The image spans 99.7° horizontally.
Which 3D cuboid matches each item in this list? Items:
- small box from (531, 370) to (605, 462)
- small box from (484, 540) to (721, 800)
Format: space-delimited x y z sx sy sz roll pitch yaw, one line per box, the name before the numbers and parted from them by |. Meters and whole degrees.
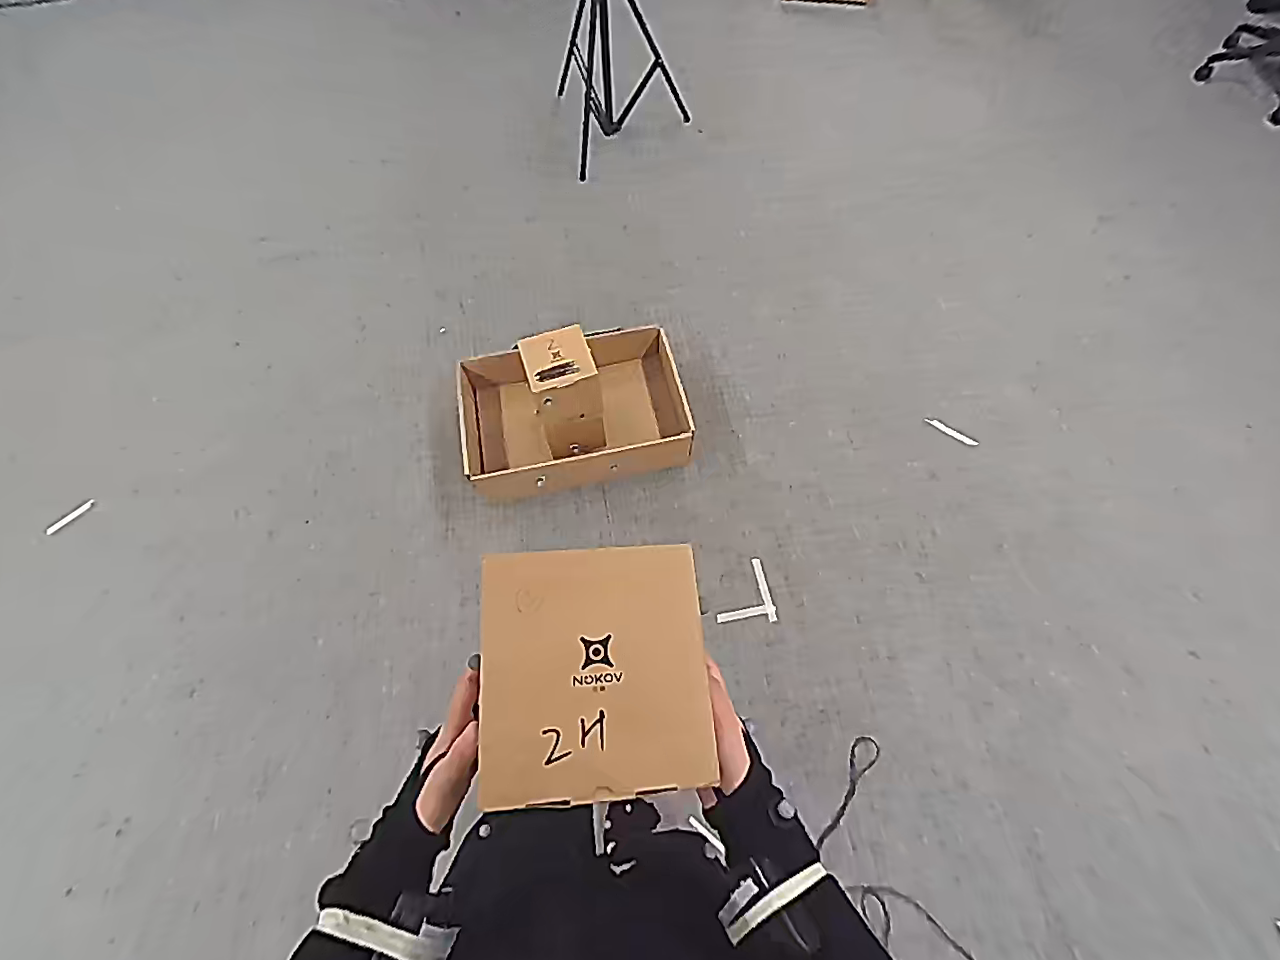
small box | -0.204 -0.180 1.551 0.168 0.176 0.179 -17 65 -7
small box | -0.038 0.162 0.473 0.168 0.176 0.179 -2 68 -7
